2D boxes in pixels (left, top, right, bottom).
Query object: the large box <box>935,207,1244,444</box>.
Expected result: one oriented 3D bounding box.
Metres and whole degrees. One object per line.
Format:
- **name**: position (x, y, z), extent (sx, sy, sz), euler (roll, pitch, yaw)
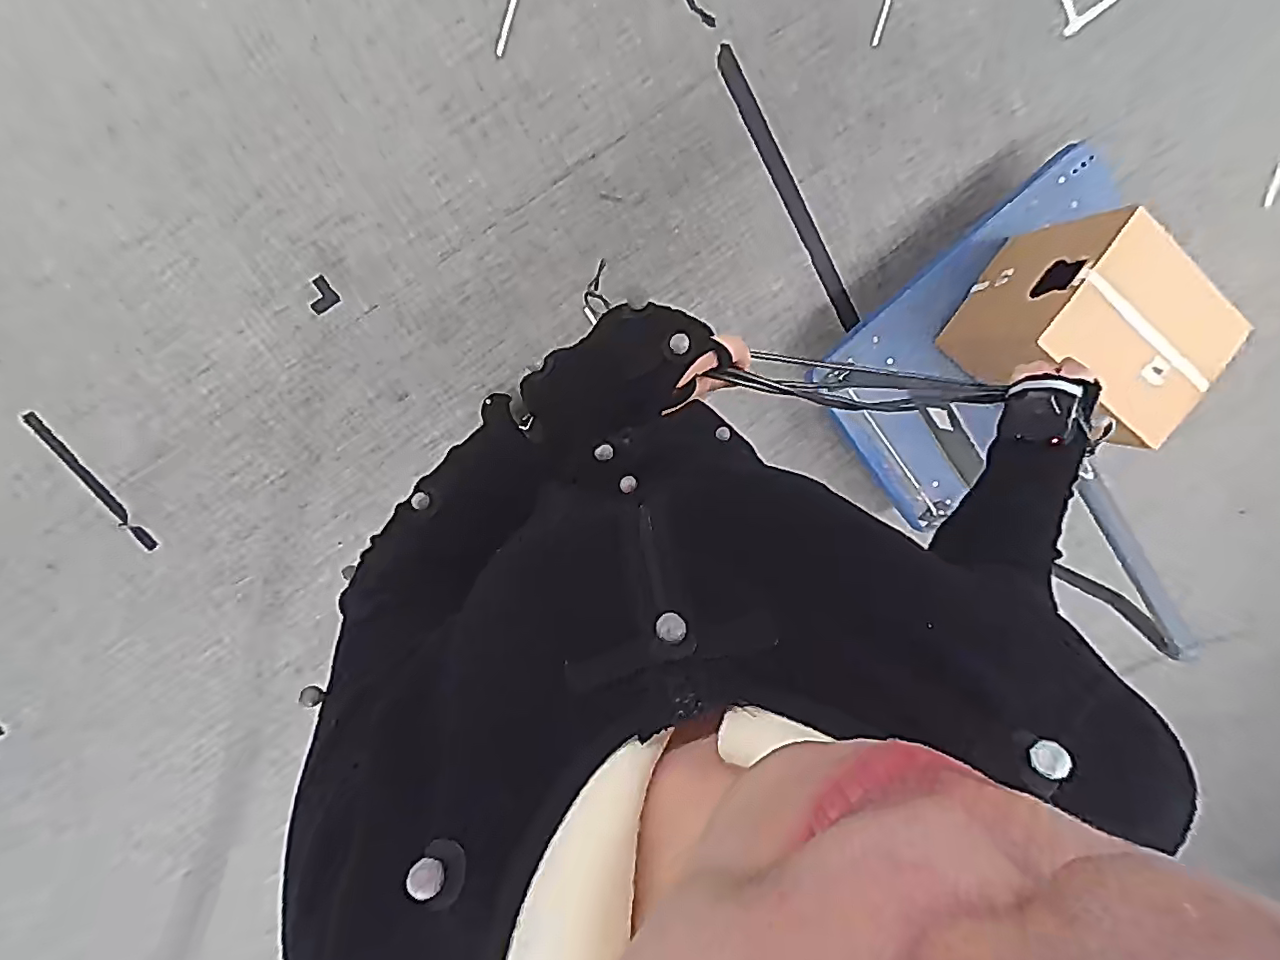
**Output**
- **large box**: position (0.989, -0.333, 1.233), extent (0.408, 0.320, 0.320), euler (32, 97, -15)
